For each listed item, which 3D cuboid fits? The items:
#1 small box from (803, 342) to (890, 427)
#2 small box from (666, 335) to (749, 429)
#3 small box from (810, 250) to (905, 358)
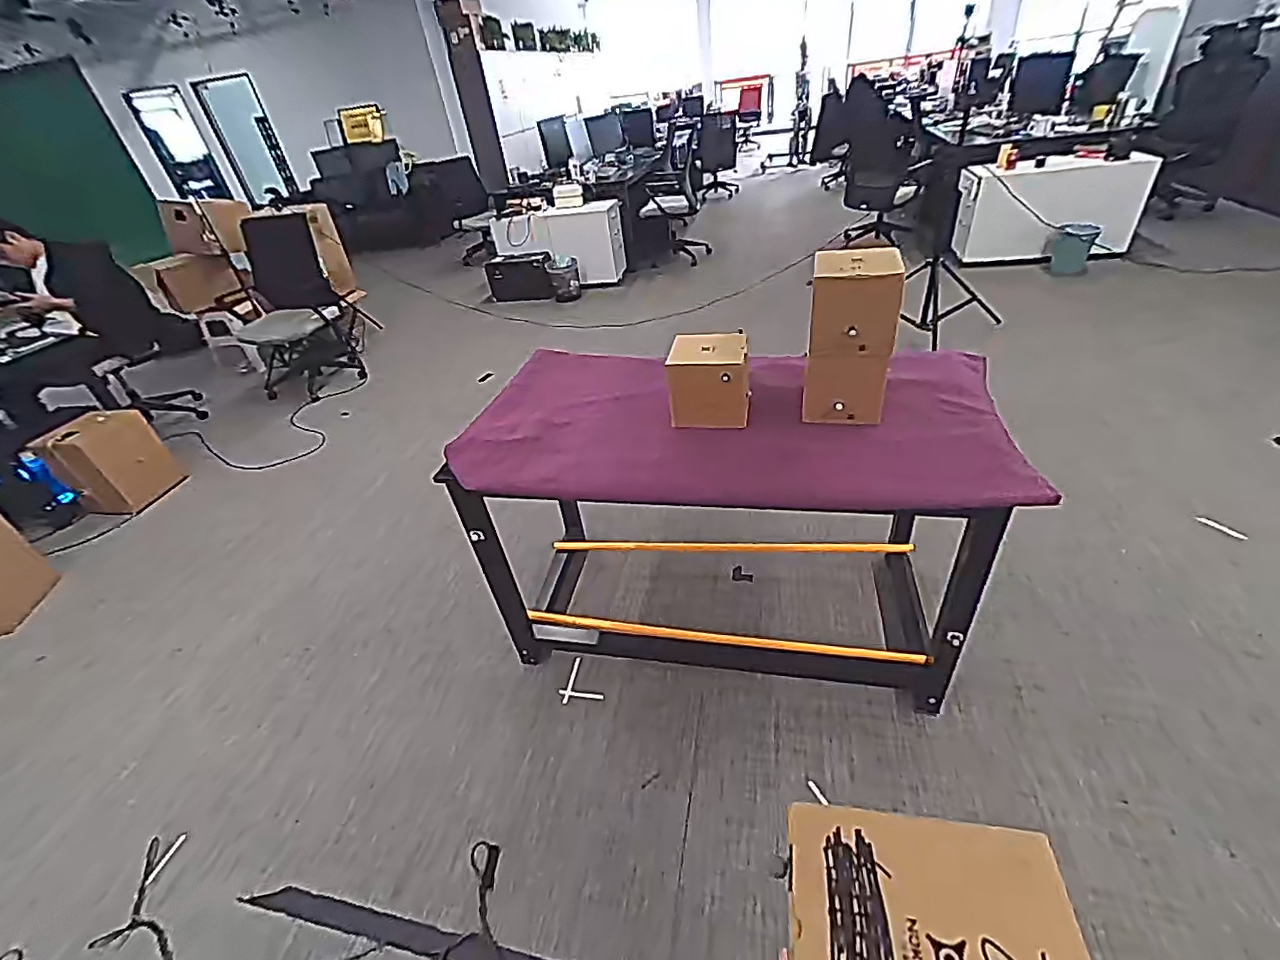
[{"bbox_3d":[0.465,-0.239,1.234,0.168,0.176,0.179,4,39,17],"label":"small box"},{"bbox_3d":[0.167,-0.232,1.288,0.179,0.176,0.168,2,37,13],"label":"small box"},{"bbox_3d":[0.448,-0.370,1.135,0.168,0.176,0.179,3,38,17],"label":"small box"}]
